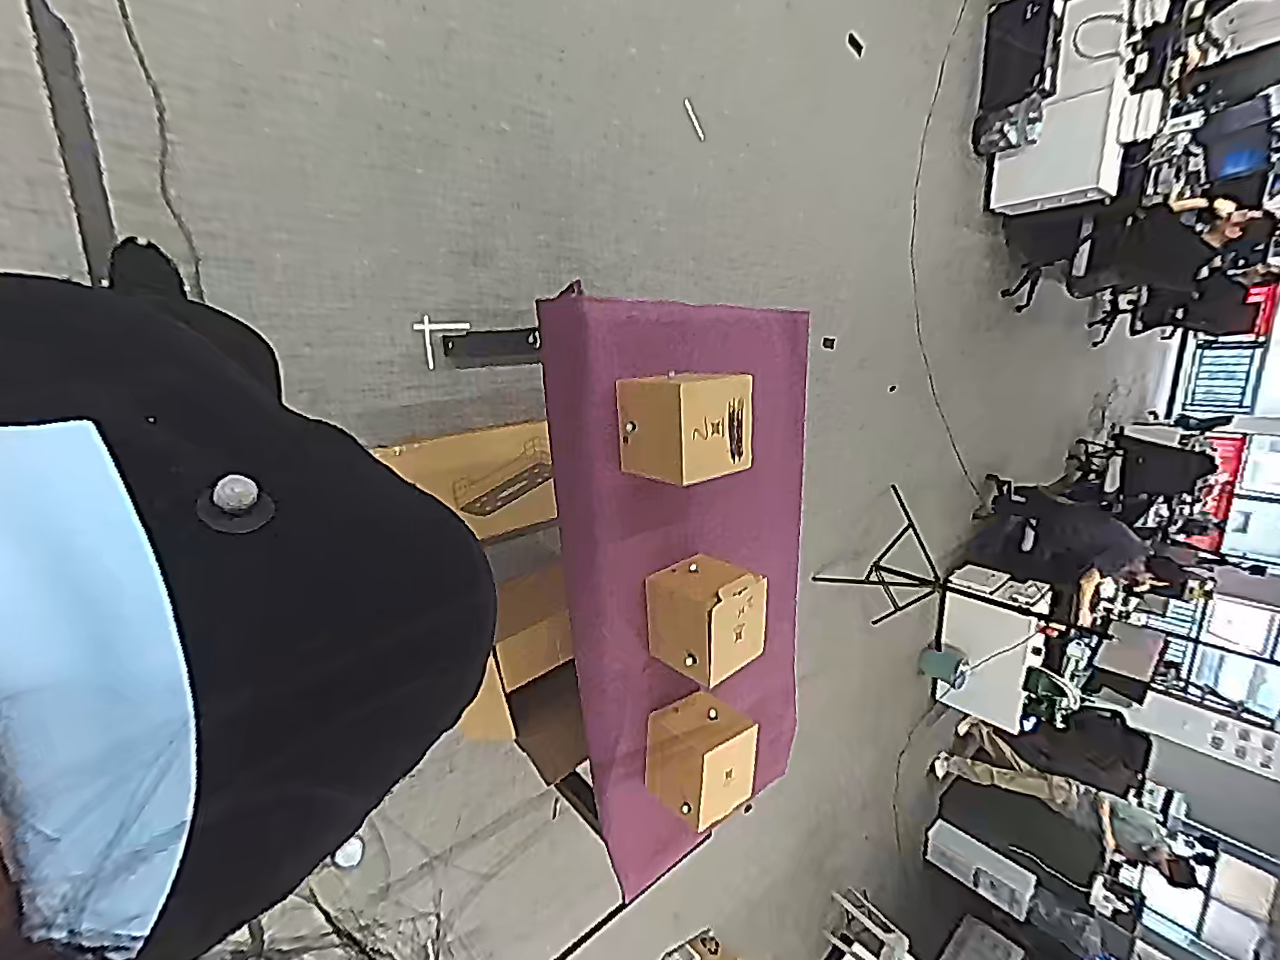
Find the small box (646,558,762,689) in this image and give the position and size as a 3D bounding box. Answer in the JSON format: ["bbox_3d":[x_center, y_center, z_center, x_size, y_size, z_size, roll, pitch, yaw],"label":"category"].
[{"bbox_3d":[0.126,0.277,1.086,0.168,0.176,0.179,-16,109,-40],"label":"small box"}]

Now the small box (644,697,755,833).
[{"bbox_3d":[0.122,0.588,1.153,0.168,0.176,0.179,-6,104,-40],"label":"small box"}]
